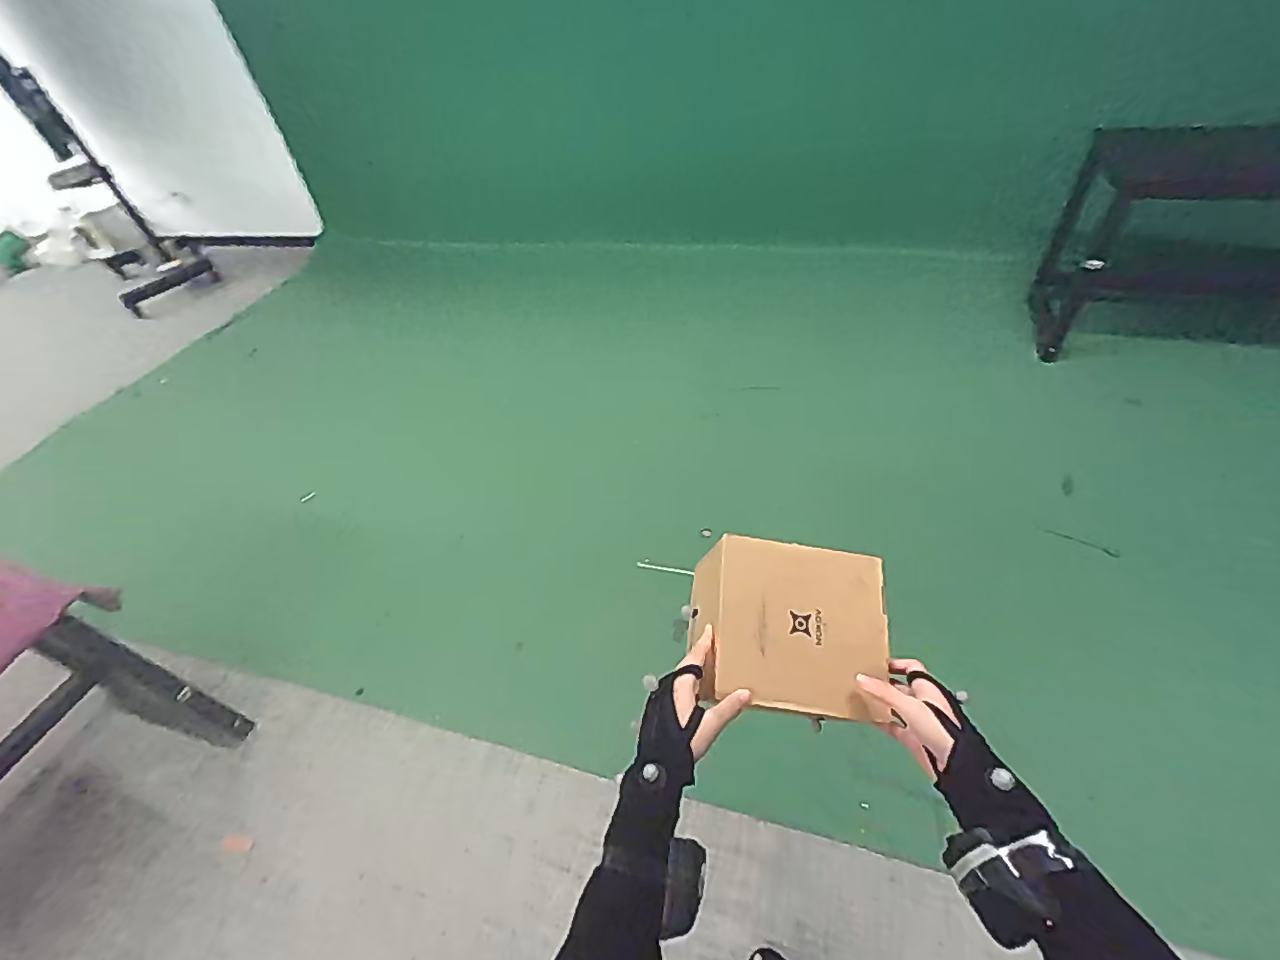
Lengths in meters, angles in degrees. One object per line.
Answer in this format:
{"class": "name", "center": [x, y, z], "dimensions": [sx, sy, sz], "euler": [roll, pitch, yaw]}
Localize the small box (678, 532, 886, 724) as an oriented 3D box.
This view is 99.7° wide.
{"class": "small box", "center": [0.150, 0.172, 0.612], "dimensions": [0.179, 0.176, 0.168], "euler": [10, 66, -3]}
